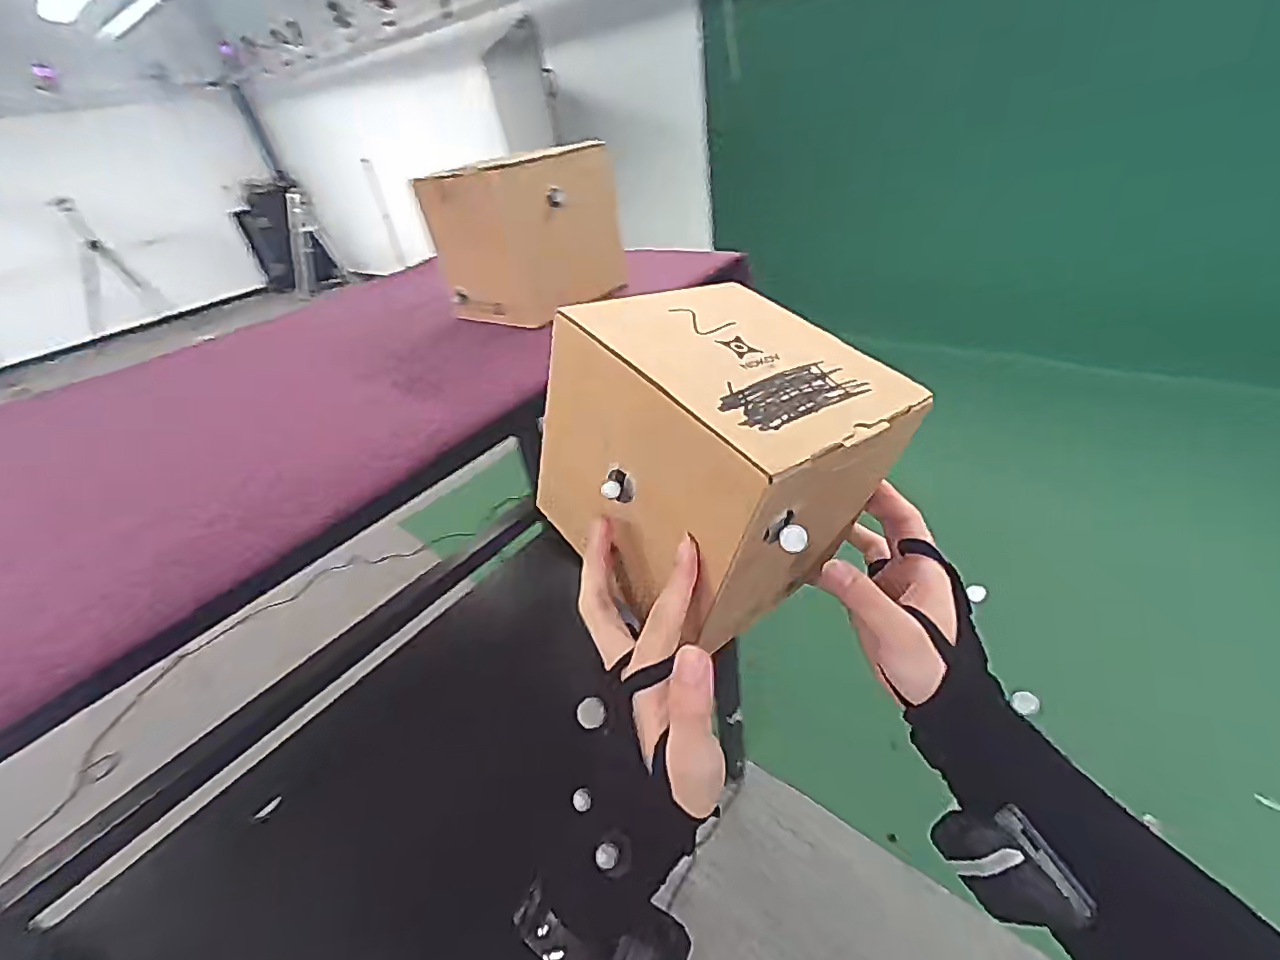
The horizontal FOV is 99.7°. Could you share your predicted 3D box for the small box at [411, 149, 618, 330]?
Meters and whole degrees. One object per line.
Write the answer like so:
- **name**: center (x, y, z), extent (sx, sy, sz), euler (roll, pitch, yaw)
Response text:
- **small box**: center (-0.146, -0.303, 0.688), extent (0.168, 0.176, 0.179), euler (18, 44, 35)
